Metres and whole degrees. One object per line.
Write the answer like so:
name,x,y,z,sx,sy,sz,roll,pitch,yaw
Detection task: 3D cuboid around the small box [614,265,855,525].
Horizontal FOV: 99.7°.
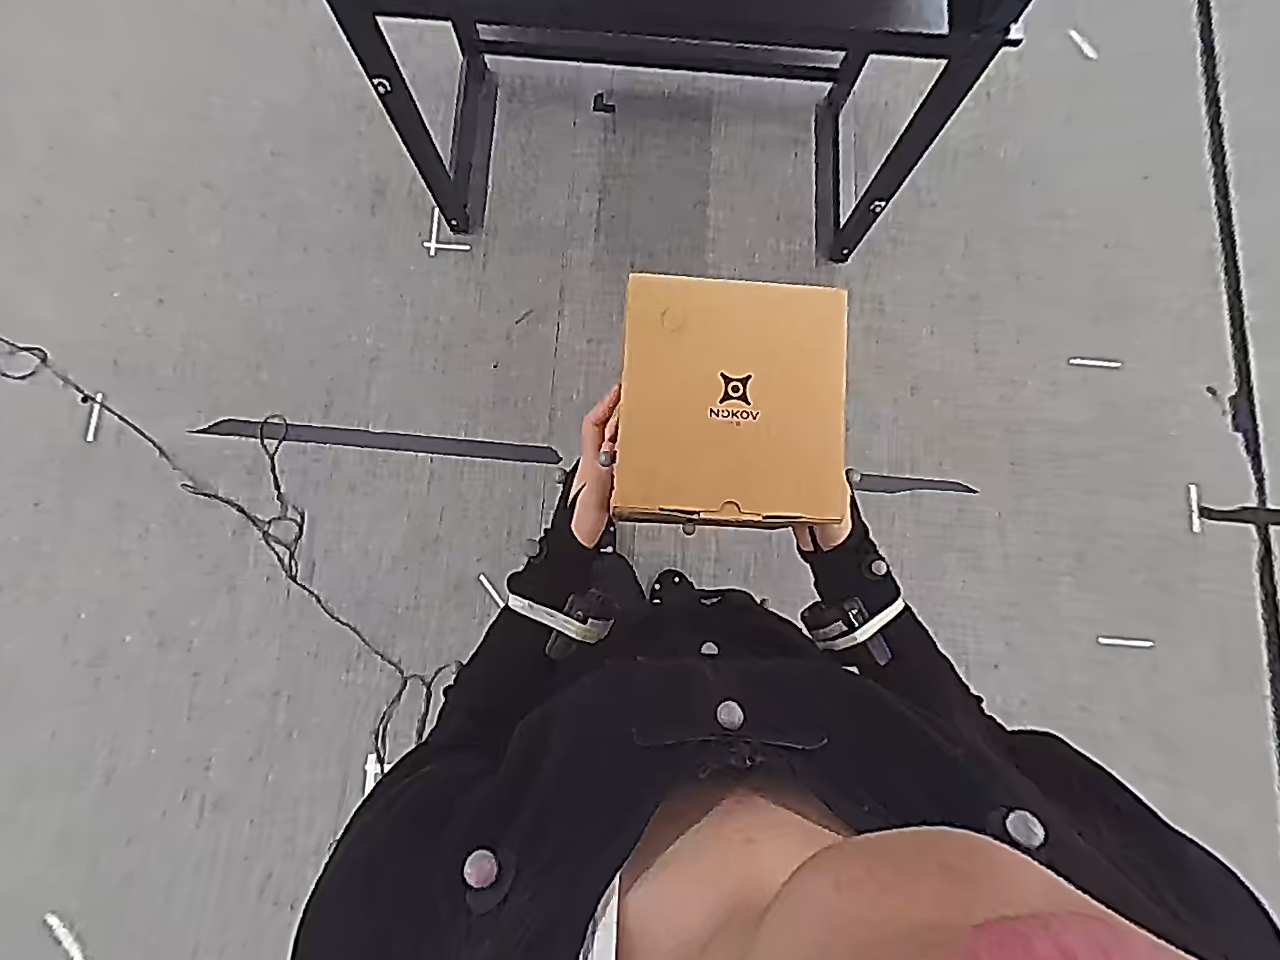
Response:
small box,0.066,-0.055,0.461,0.168,0.176,0.179,3,84,-3
